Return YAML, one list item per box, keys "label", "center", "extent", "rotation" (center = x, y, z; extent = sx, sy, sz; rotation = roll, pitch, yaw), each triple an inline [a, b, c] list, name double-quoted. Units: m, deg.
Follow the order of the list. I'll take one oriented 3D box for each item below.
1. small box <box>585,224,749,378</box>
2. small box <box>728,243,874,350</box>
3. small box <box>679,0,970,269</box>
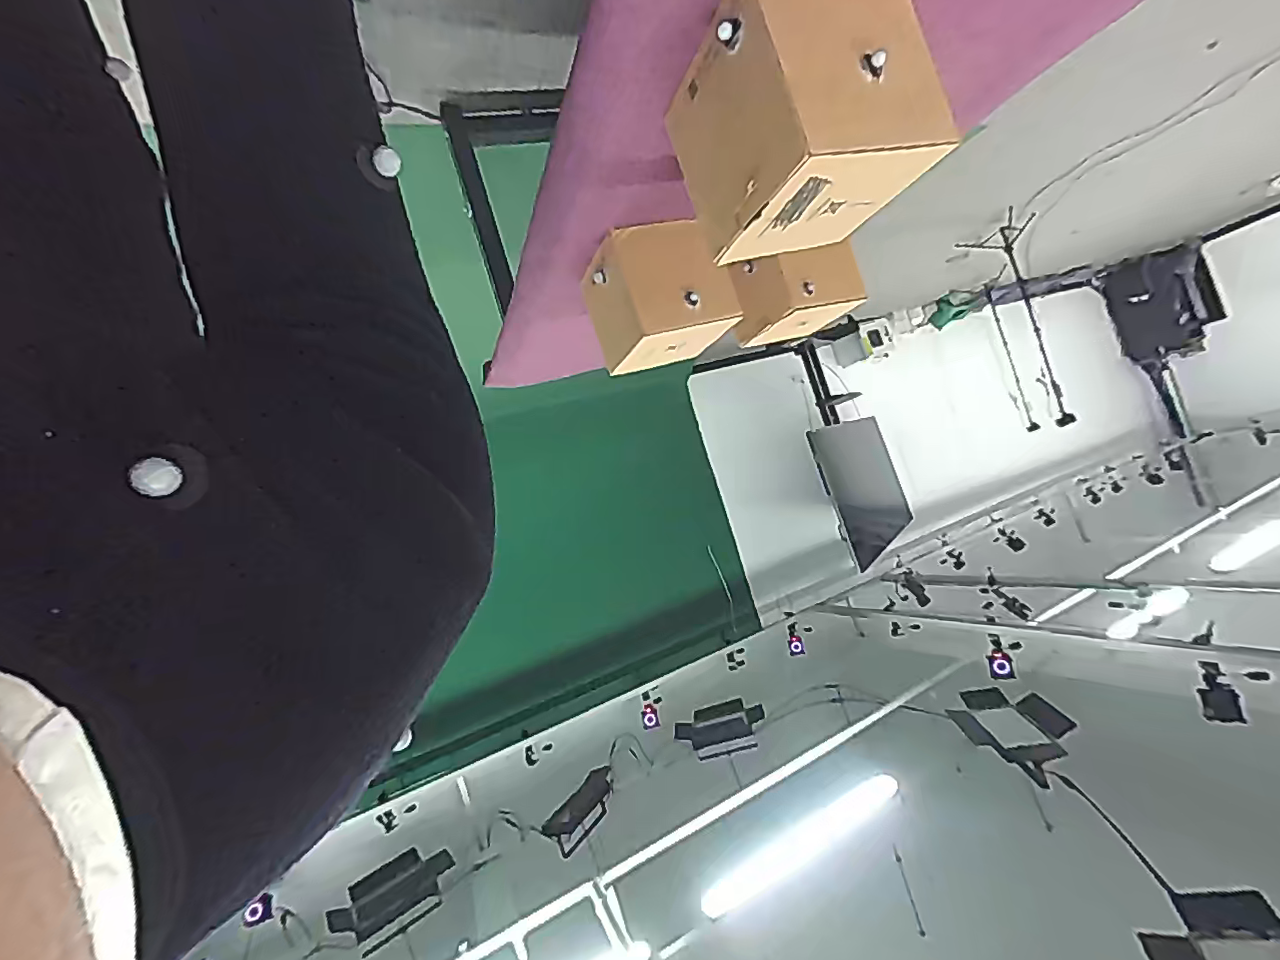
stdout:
- label: "small box"
  center: [0.035, -0.280, 0.851]
  extent: [0.179, 0.176, 0.168]
  rotation: [-17, 177, -23]
- label: "small box"
  center: [0.275, -0.352, 0.966]
  extent: [0.179, 0.176, 0.168]
  rotation: [-15, 177, -23]
- label: "small box"
  center: [0.159, -0.331, 0.514]
  extent: [0.179, 0.176, 0.168]
  rotation: [-18, 179, -20]
